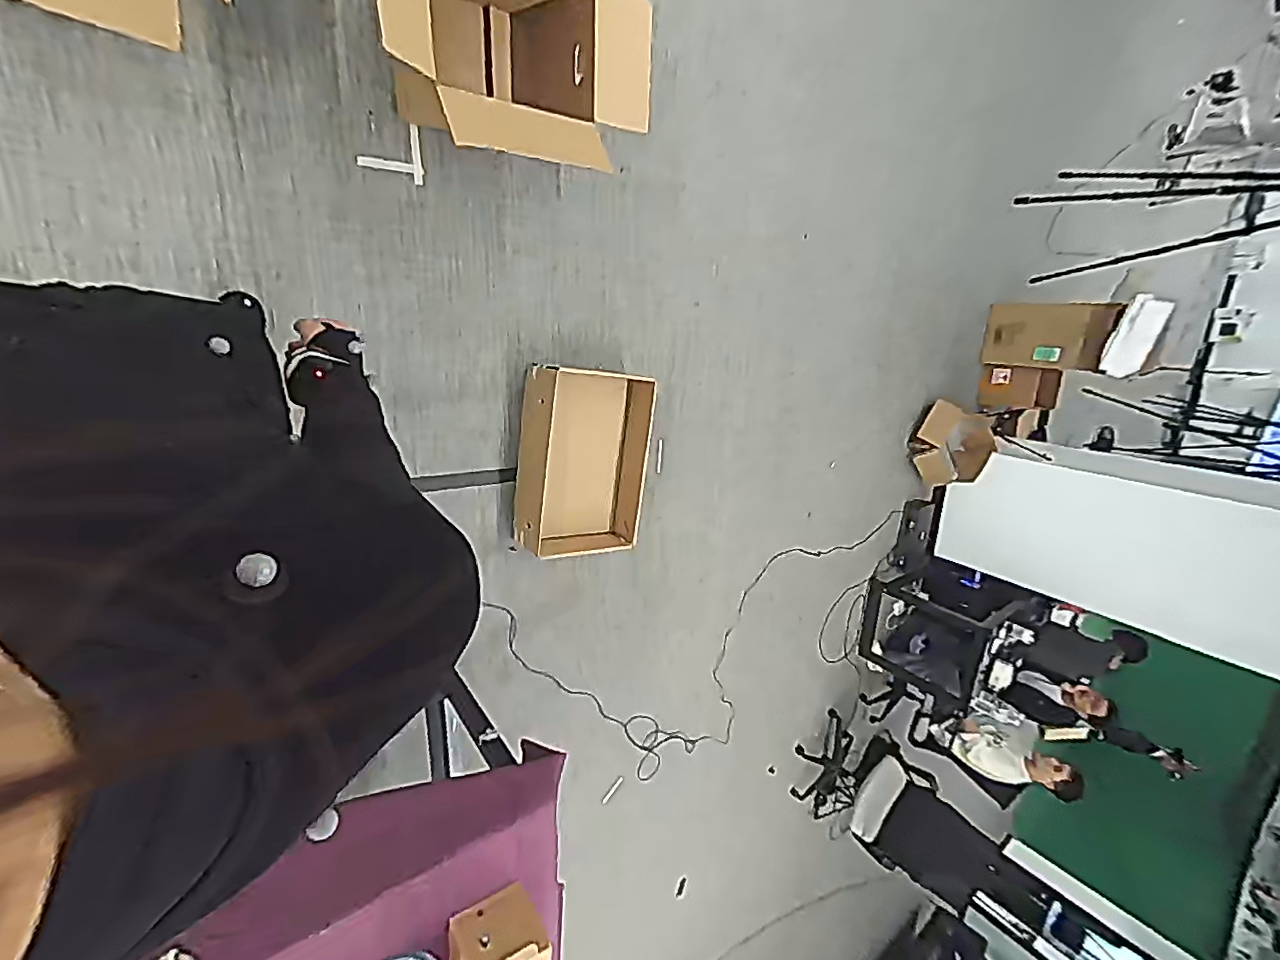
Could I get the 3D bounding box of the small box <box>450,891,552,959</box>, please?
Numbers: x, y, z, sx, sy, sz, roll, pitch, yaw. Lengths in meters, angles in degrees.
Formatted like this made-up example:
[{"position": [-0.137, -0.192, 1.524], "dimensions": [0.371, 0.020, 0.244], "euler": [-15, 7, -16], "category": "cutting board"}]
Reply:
[{"position": [-0.309, 1.054, 1.181], "dimensions": [0.168, 0.176, 0.179], "euler": [-4, 107, -37], "category": "small box"}]
